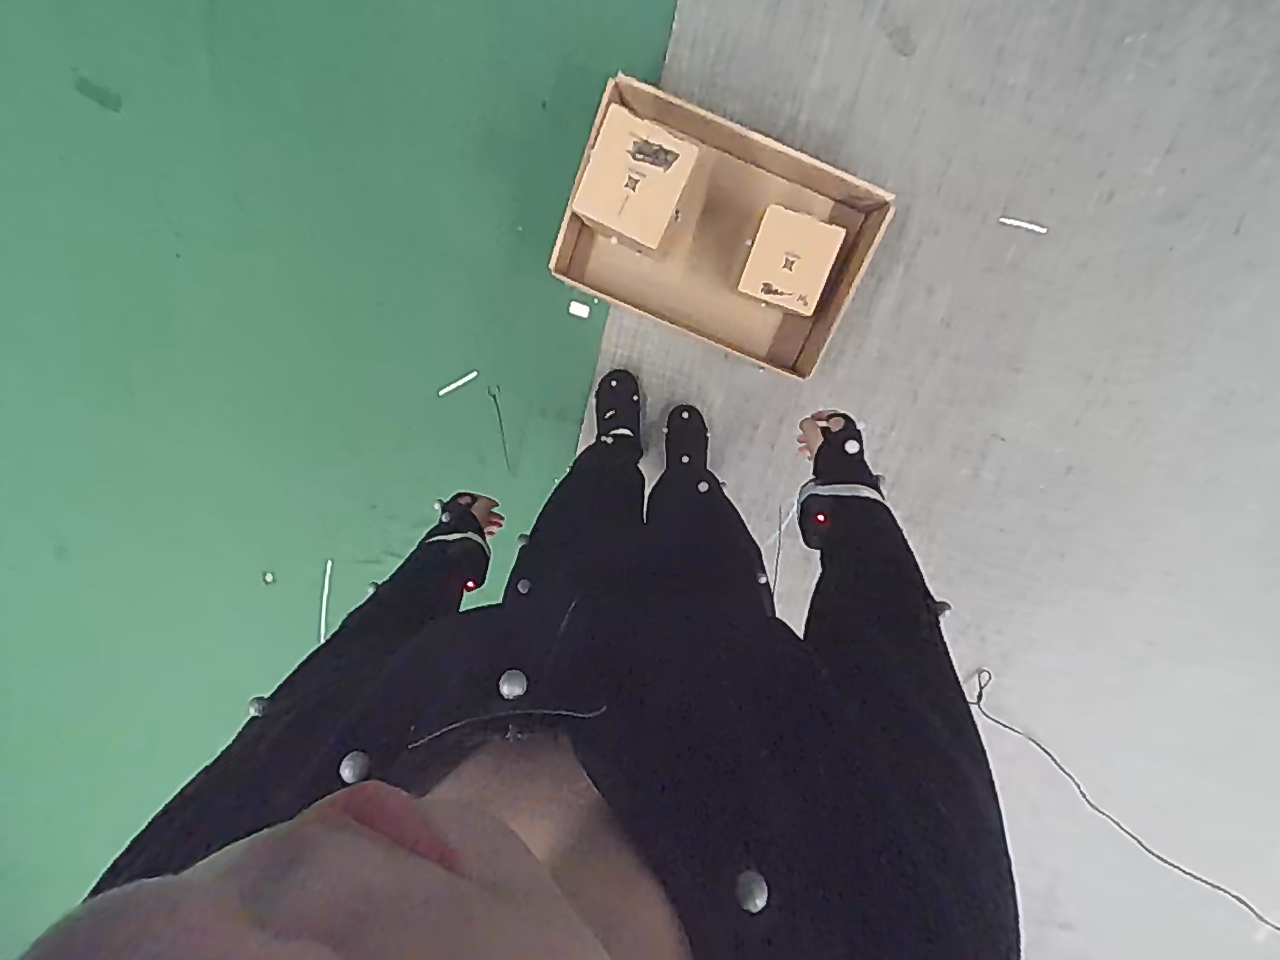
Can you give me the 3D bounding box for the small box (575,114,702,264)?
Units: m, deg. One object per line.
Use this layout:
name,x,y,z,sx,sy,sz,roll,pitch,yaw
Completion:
small box,-0.002,-0.520,0.995,0.168,0.176,0.179,25,108,-5
